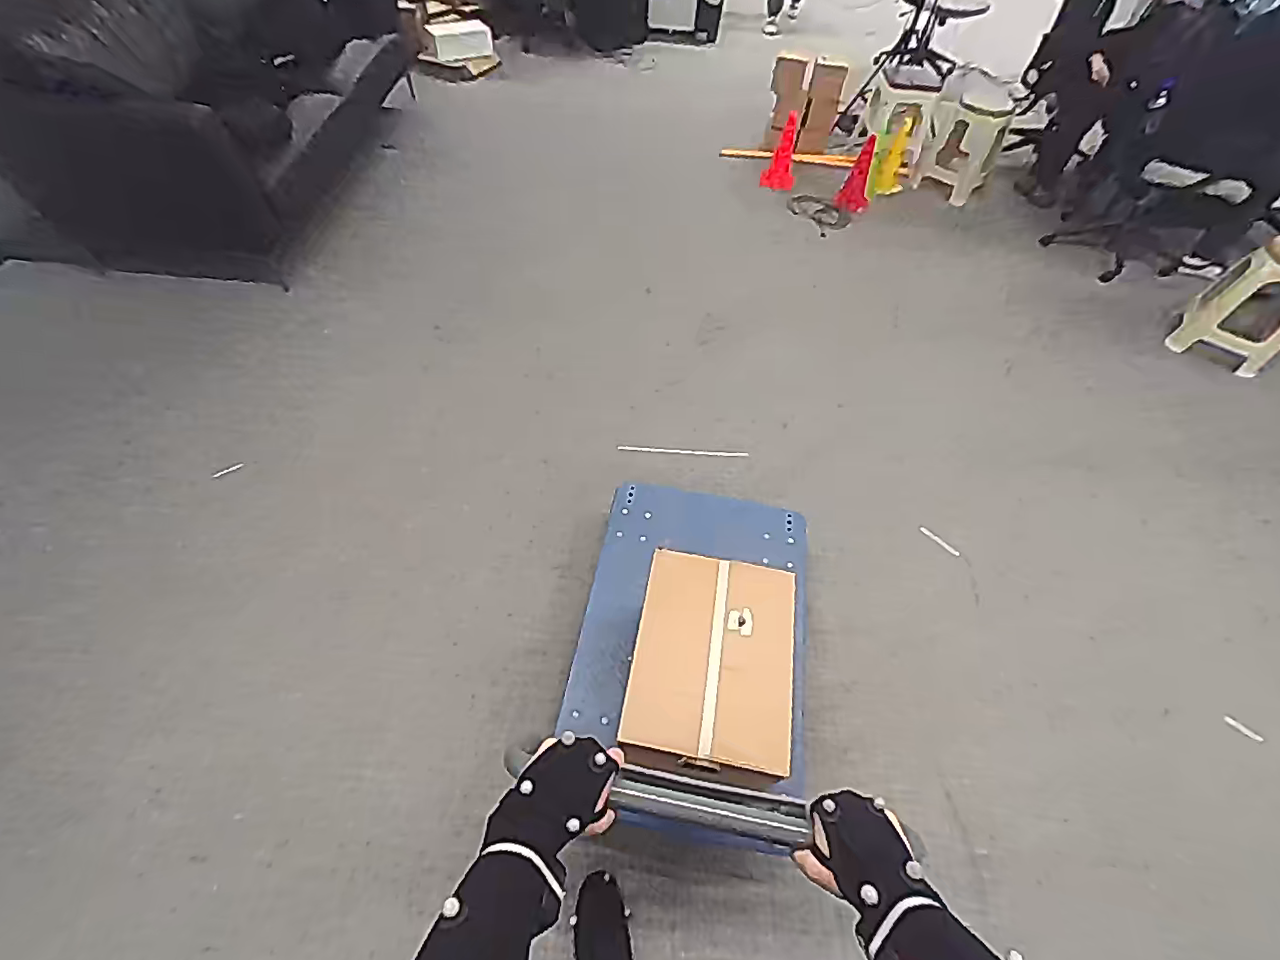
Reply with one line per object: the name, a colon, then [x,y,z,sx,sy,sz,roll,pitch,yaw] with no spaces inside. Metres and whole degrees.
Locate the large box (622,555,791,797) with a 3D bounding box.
large box: [0.143,0.435,1.201,0.320,0.320,0.408,10,53,4]
